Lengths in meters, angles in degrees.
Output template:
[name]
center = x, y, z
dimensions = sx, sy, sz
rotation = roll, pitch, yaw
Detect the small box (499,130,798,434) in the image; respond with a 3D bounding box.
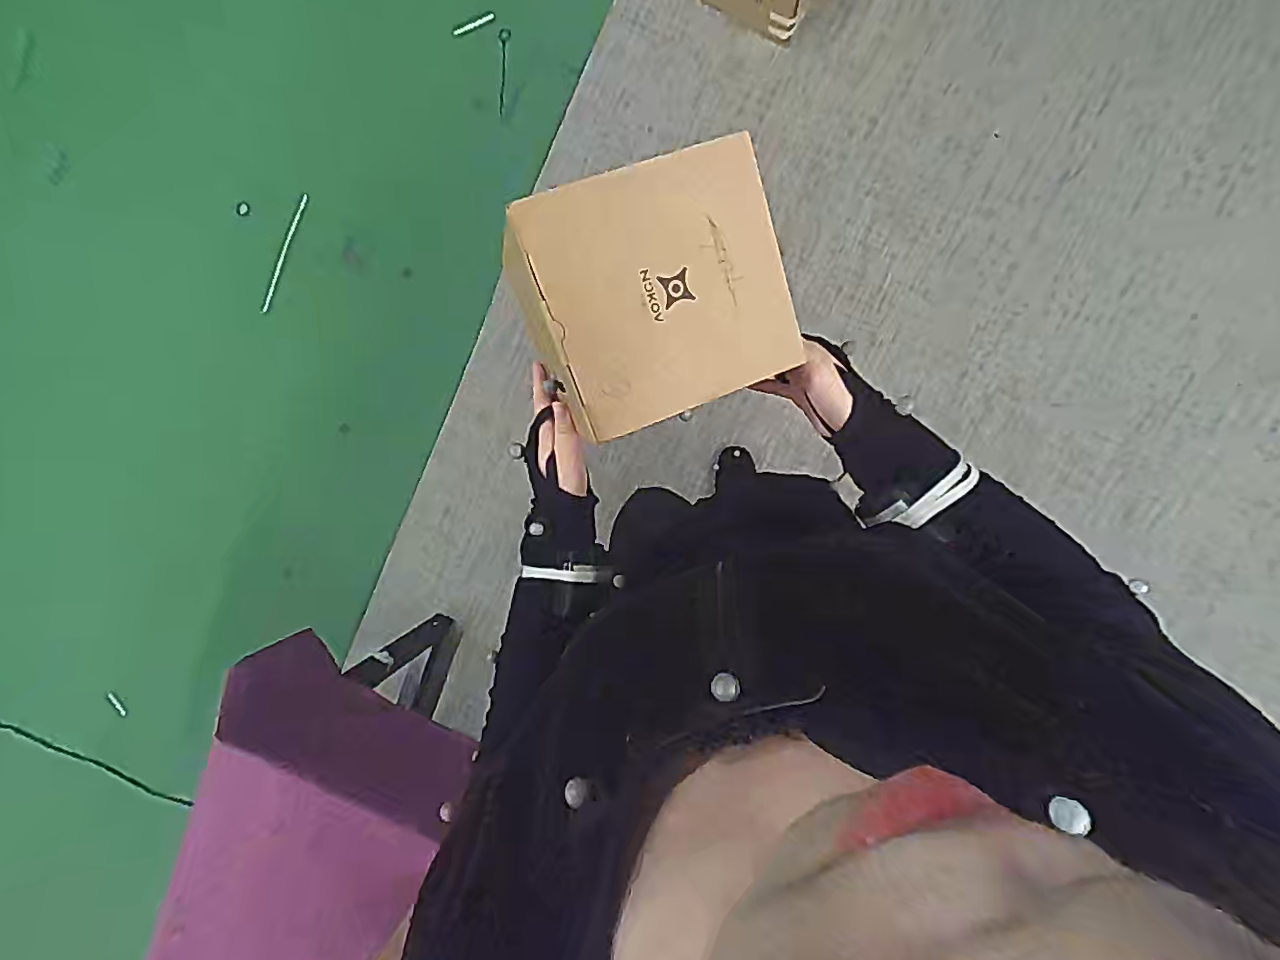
[small box]
center = -0.003, -0.148, 0.450
dimensions = 0.179, 0.176, 0.168
rotation = -22, 105, -9
